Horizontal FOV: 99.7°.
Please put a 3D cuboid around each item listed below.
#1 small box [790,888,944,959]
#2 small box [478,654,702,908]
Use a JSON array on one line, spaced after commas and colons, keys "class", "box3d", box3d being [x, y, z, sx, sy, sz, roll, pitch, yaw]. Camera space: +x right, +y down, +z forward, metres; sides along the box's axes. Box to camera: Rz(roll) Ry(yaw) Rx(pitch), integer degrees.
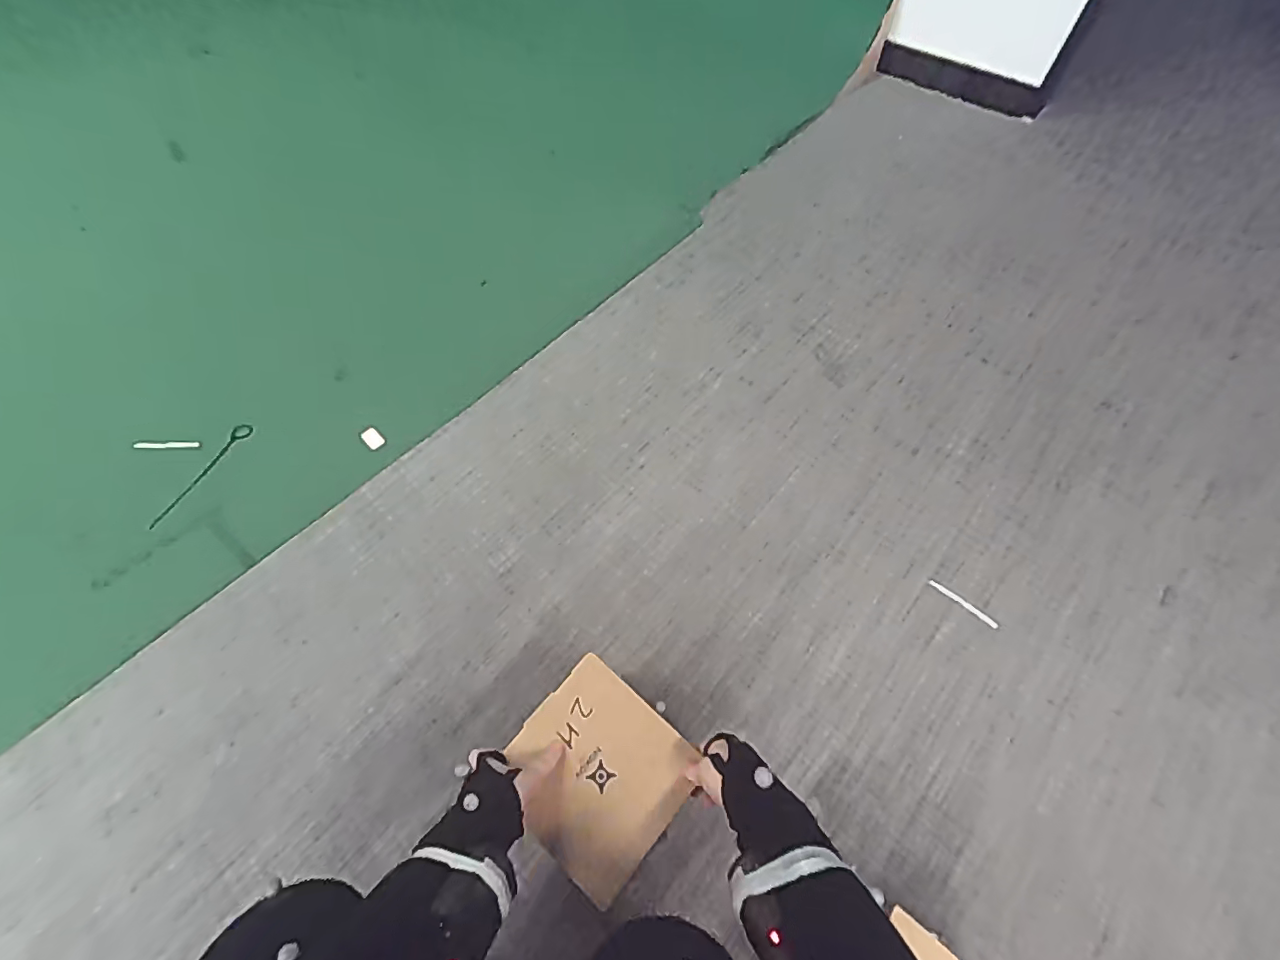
[{"class": "small box", "box3d": [0.243, 0.556, 0.537, 0.168, 0.176, 0.179, 36, 66, 20]}, {"class": "small box", "box3d": [-0.050, 0.331, 0.628, 0.179, 0.176, 0.168, 39, 71, 17]}]
